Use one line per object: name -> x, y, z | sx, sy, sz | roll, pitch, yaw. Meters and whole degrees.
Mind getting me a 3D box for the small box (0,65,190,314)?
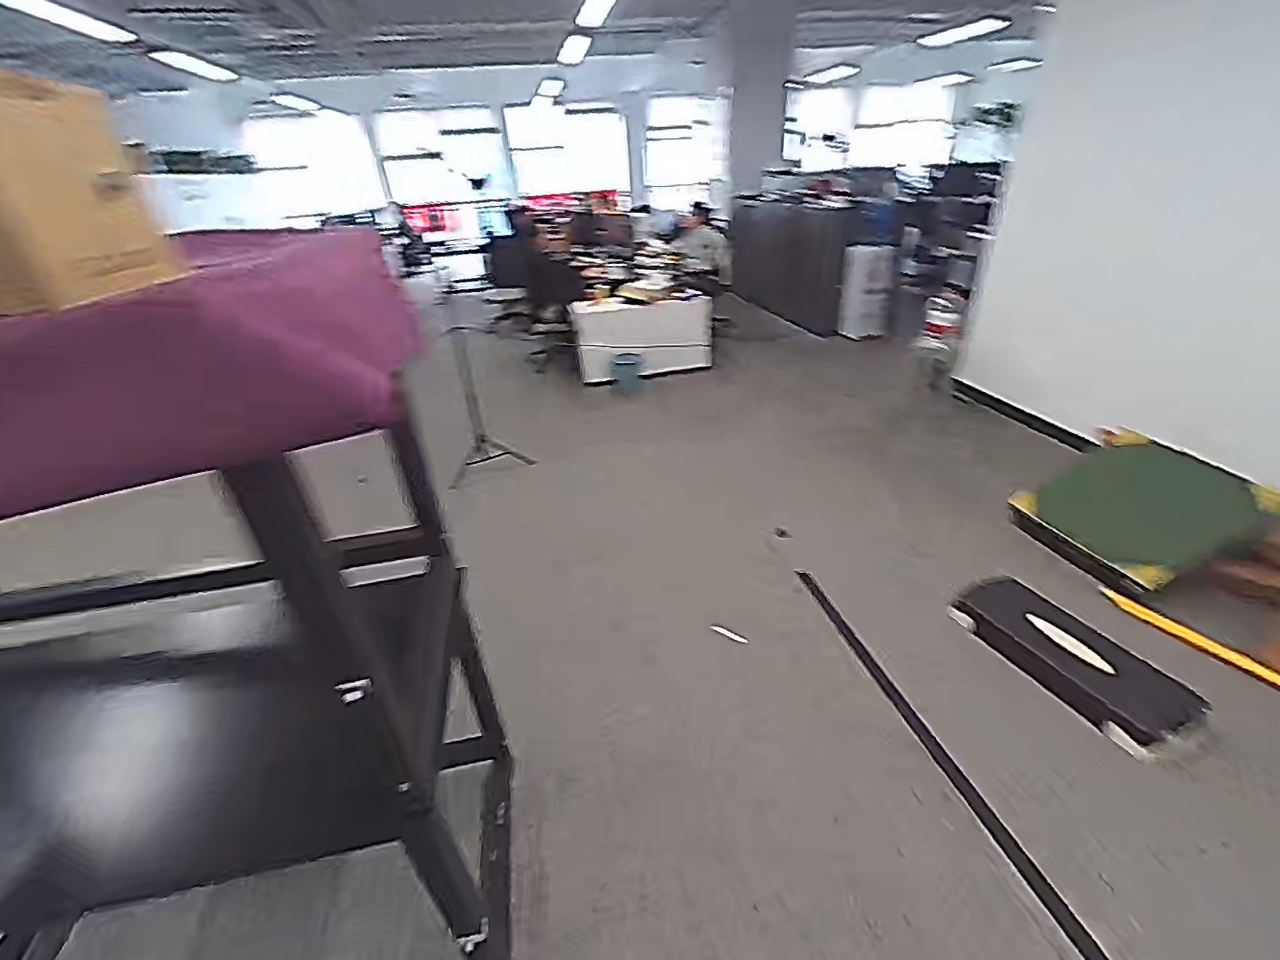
small box -> -0.543, -0.235, 0.454 | 0.179, 0.176, 0.168 | -7, 28, -3
